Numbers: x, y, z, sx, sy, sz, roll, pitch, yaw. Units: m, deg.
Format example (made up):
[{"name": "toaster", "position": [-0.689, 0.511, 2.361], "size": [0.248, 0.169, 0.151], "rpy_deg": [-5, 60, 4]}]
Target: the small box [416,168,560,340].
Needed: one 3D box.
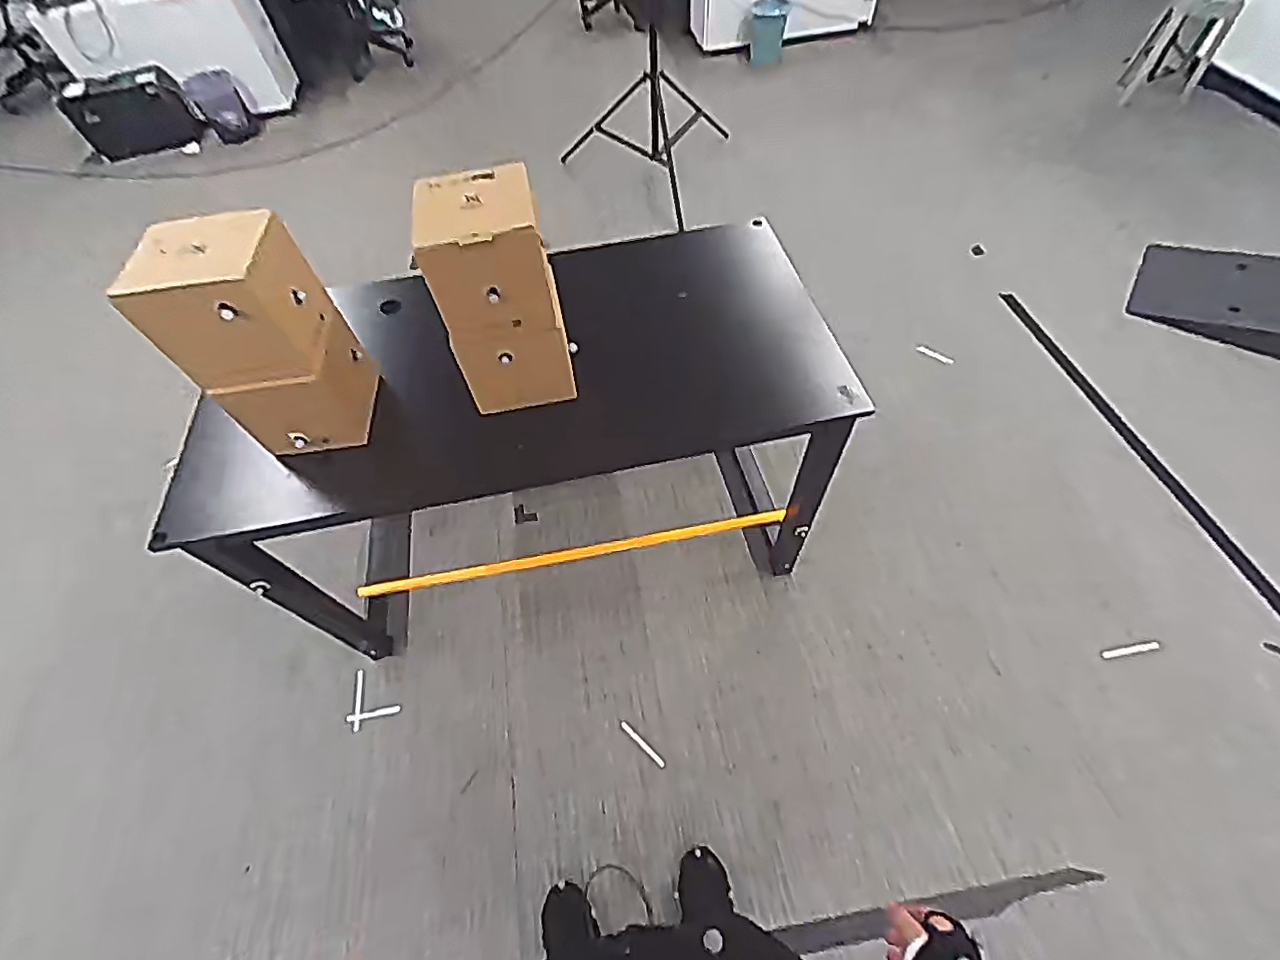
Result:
[{"name": "small box", "position": [-0.223, -0.332, 0.817], "size": [0.168, 0.176, 0.179], "rpy_deg": [-12, 57, -4]}]

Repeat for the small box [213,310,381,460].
[{"name": "small box", "position": [-0.567, -0.160, 0.925], "size": [0.168, 0.176, 0.179], "rpy_deg": [-9, 57, -1]}]

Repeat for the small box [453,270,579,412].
[{"name": "small box", "position": [-0.214, -0.238, 0.951], "size": [0.179, 0.176, 0.168], "rpy_deg": [-11, 57, -4]}]

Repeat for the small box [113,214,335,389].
[{"name": "small box", "position": [-0.582, -0.255, 0.791], "size": [0.179, 0.176, 0.168], "rpy_deg": [-9, 56, -1]}]
